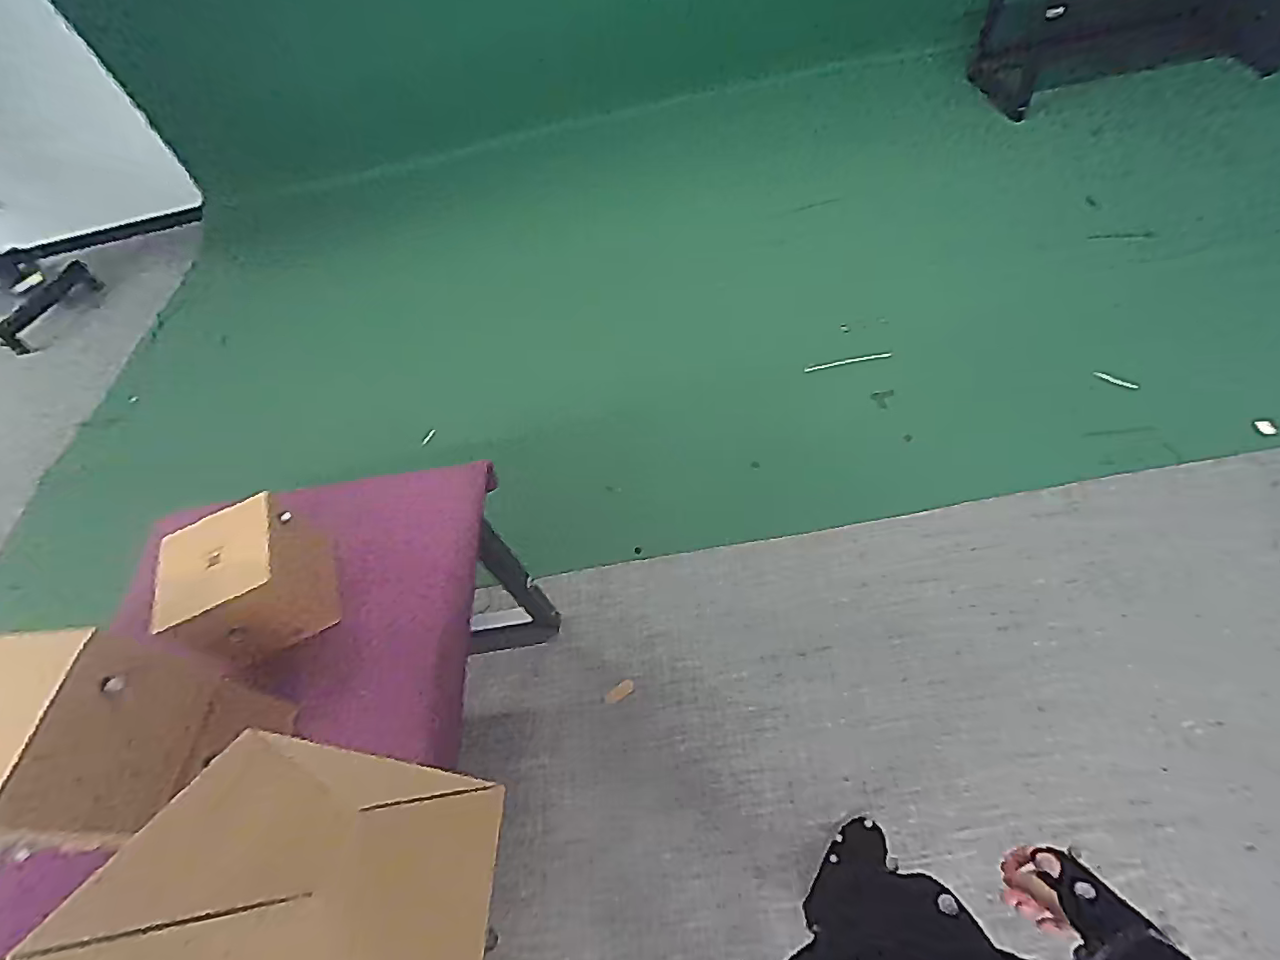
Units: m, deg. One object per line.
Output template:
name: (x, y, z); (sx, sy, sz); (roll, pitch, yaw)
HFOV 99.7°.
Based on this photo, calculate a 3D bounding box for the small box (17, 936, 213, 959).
small box: (-0.590, 0.575, 0.534); (0.179, 0.176, 0.168); (-11, 54, 2)

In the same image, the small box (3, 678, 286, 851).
small box: (-0.600, 0.366, 0.688); (0.168, 0.176, 0.179); (-5, 54, 6)

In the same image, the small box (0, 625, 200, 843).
small box: (-0.616, 0.266, 0.558); (0.168, 0.176, 0.179); (-5, 54, 7)

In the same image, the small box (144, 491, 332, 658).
small box: (-0.607, 0.156, 0.839); (0.168, 0.176, 0.179); (-26, 54, -7)
